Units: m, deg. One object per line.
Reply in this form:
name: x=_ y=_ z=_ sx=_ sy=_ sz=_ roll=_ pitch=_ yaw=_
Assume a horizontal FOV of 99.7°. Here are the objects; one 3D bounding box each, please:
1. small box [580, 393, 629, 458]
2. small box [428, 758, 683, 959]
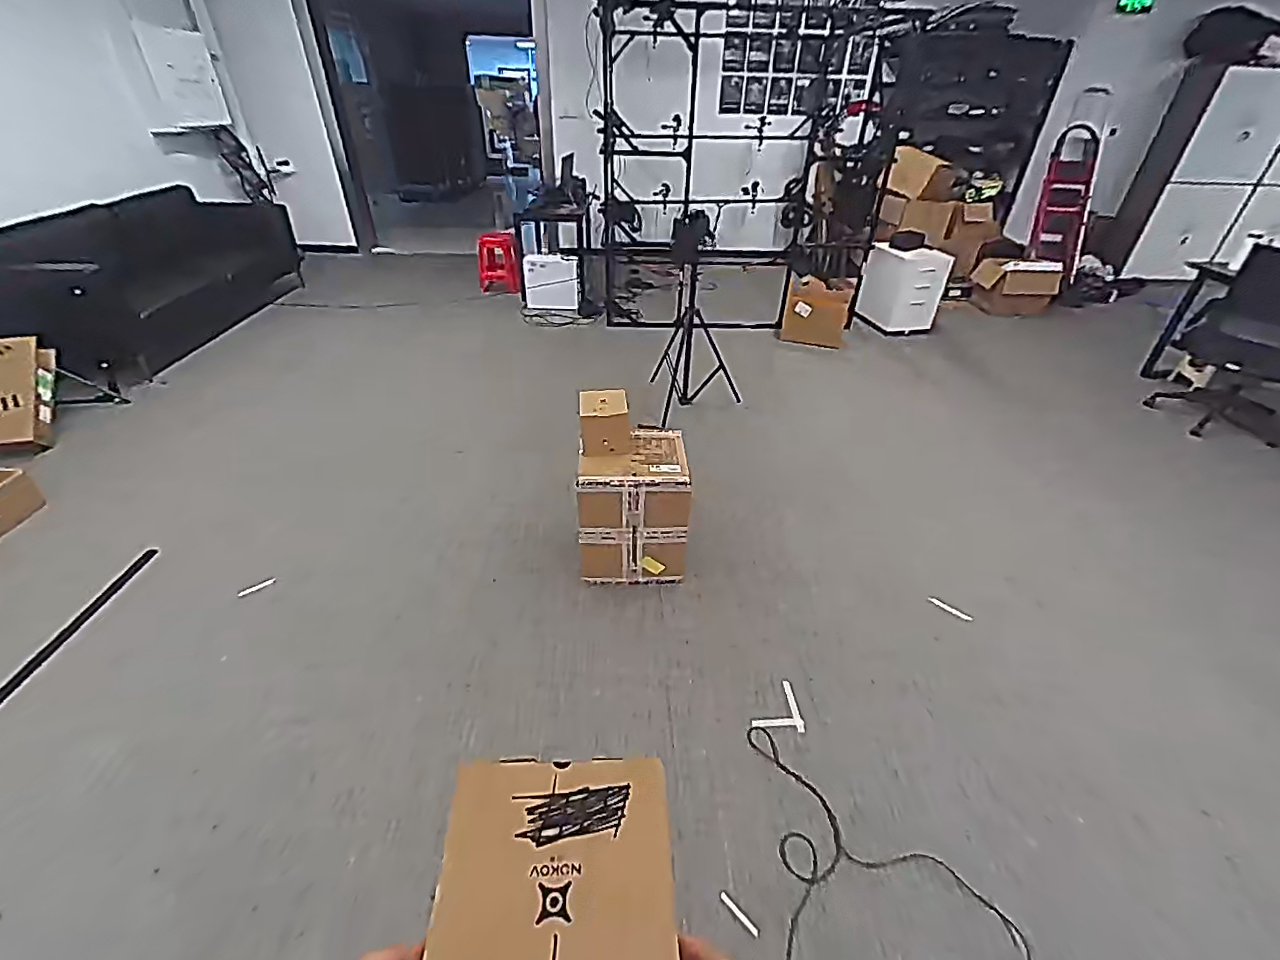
small box: x=-0.129 y=-0.197 z=1.956 sx=0.168 sy=0.176 sz=0.179 roll=-4 pitch=38 yaw=-4
small box: x=-0.063 y=0.346 z=0.425 sx=0.168 sy=0.176 sz=0.179 roll=1 pitch=39 yaw=-6
